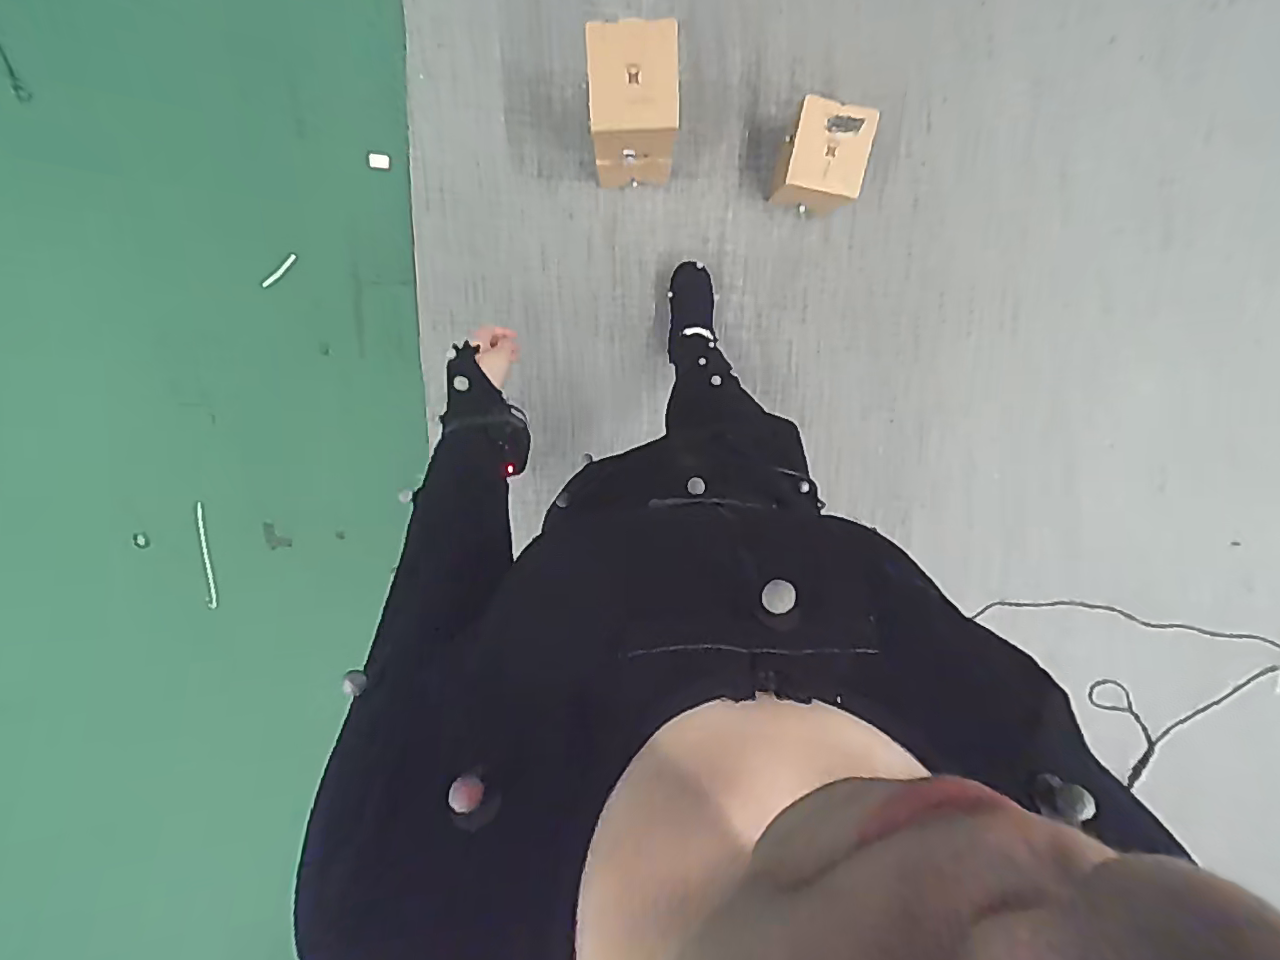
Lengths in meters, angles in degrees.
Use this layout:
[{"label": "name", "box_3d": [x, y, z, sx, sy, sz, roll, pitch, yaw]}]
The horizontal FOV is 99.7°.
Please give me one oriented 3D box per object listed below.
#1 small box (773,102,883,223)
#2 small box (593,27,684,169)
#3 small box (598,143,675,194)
[{"label": "small box", "box_3d": [0.414, -0.708, 1.224, 0.168, 0.176, 0.179, 11, 103, -2]}, {"label": "small box", "box_3d": [-0.002, -0.733, 1.054, 0.168, 0.176, 0.179, -1, 101, 2]}, {"label": "small box", "box_3d": [-0.011, -0.764, 1.211, 0.168, 0.176, 0.179, -3, 102, 0]}]
